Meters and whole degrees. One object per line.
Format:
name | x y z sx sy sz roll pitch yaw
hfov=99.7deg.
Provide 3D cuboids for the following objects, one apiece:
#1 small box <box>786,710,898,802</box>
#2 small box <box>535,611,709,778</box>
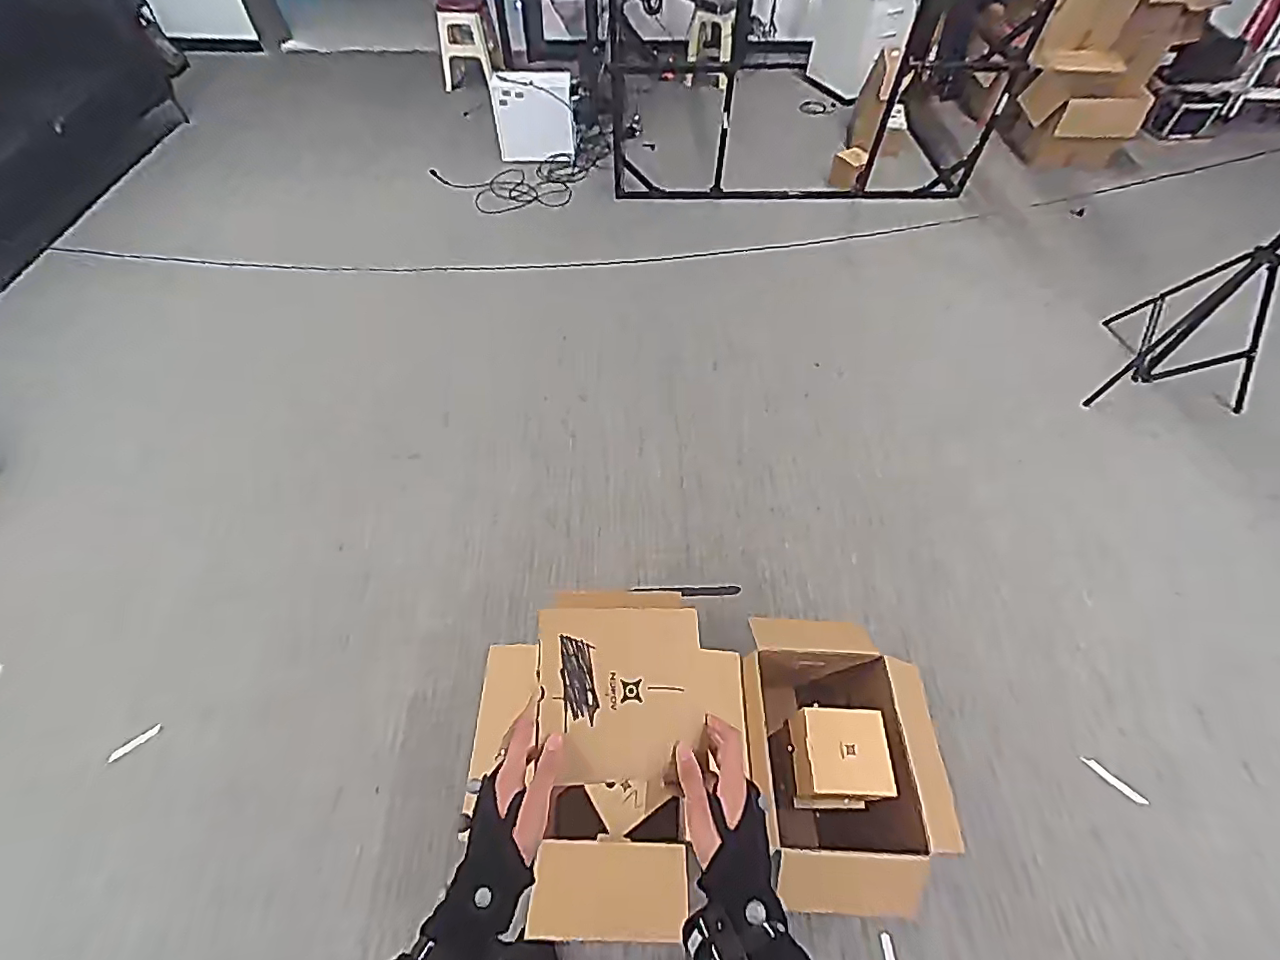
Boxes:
small box | 0.441 0.619 1.208 0.179 0.176 0.168 2 57 0
small box | -0.021 0.250 0.638 0.179 0.176 0.168 0 68 -3
